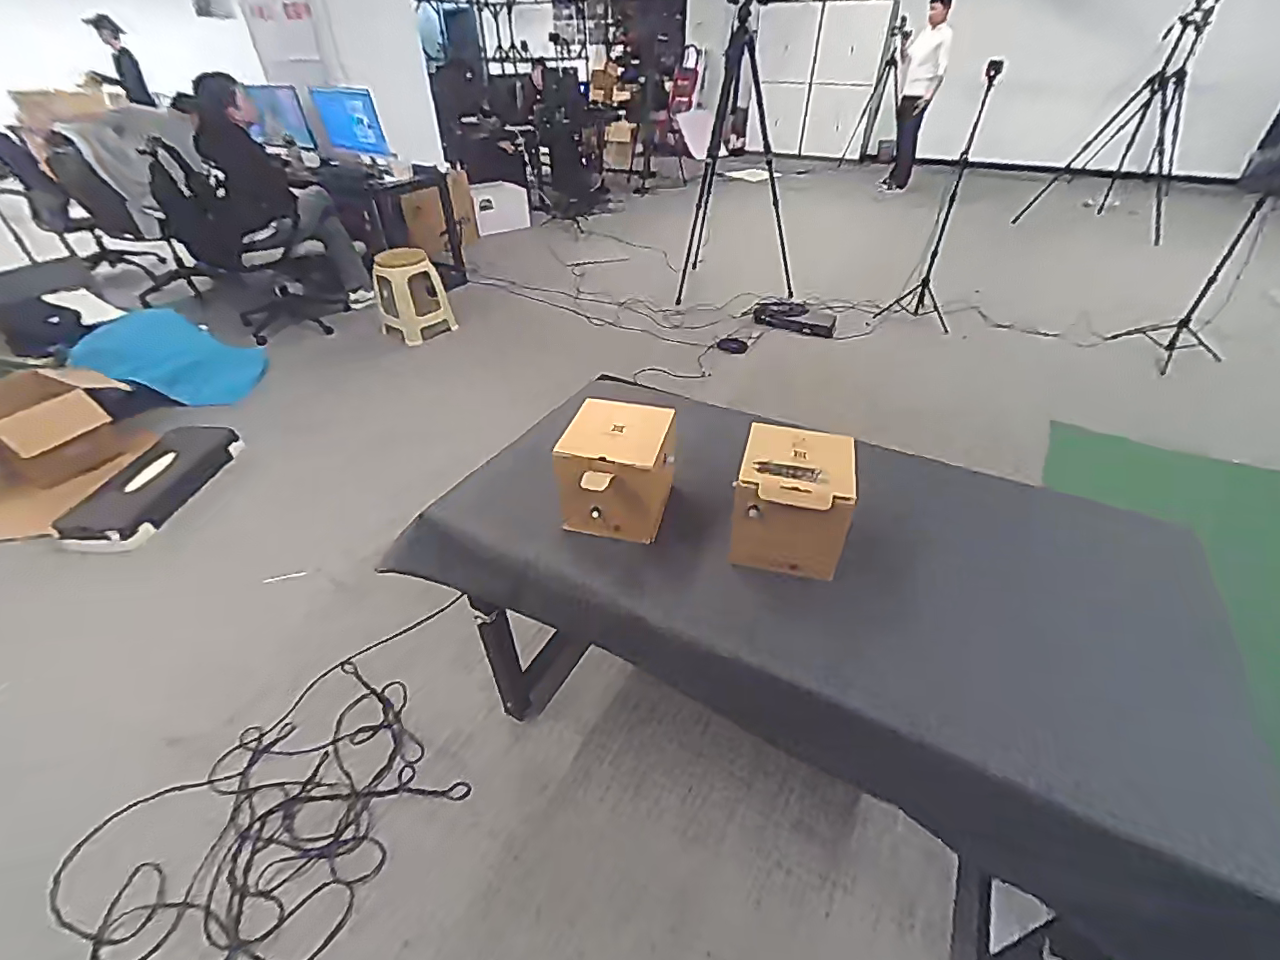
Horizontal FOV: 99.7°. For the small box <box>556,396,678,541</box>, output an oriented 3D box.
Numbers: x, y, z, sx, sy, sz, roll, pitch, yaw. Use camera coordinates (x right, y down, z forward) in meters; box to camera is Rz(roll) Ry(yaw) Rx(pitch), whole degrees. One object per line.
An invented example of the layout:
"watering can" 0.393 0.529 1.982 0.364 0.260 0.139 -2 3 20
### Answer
"small box" -0.035 -0.022 0.944 0.168 0.176 0.179 9 40 11
